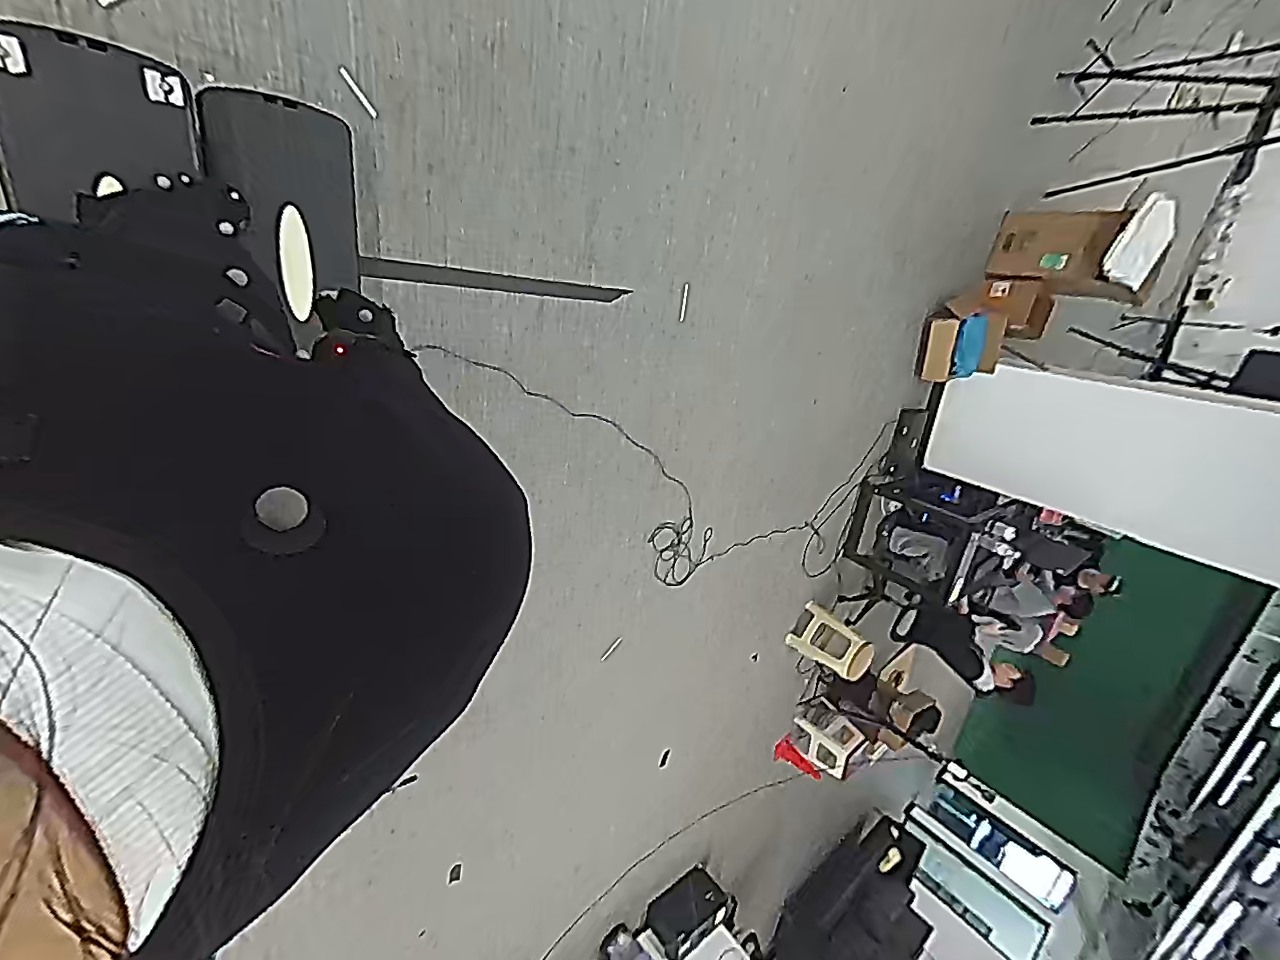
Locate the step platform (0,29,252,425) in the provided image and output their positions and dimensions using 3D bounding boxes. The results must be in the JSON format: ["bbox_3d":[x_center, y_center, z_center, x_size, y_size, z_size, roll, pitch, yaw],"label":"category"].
[{"bbox_3d":[-1.000,-0.453,1.083,0.286,0.204,0.684,-12,116,-39],"label":"step platform"}]
